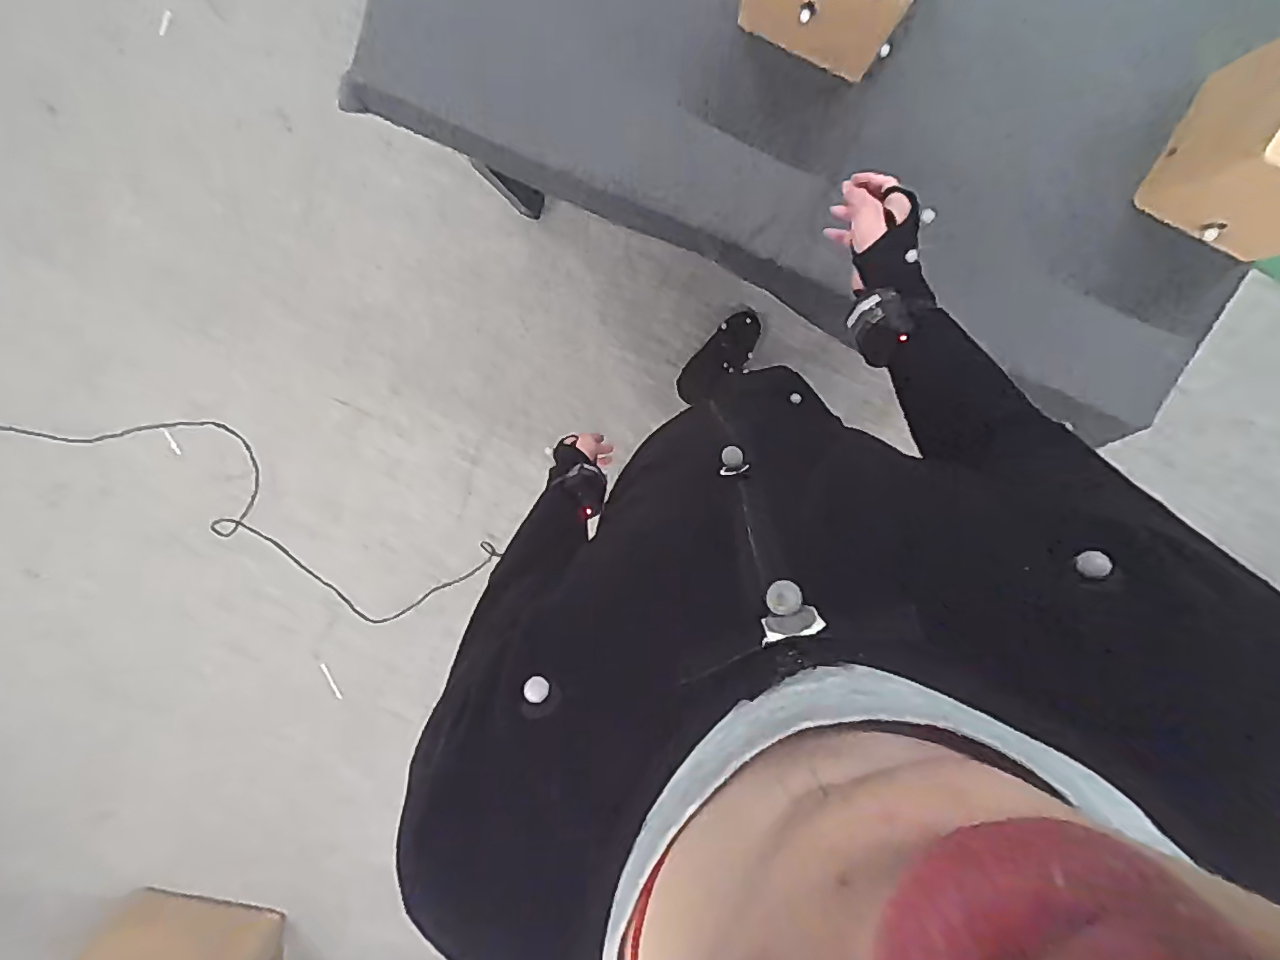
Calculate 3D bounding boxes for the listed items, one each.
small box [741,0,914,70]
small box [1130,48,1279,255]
[{"bbox_3d":[0.232,-0.600,0.591,0.179,0.176,0.168,25,101,-3],"label":"small box"},{"bbox_3d":[0.744,-0.378,0.619,0.179,0.176,0.168,25,102,-4],"label":"small box"}]
